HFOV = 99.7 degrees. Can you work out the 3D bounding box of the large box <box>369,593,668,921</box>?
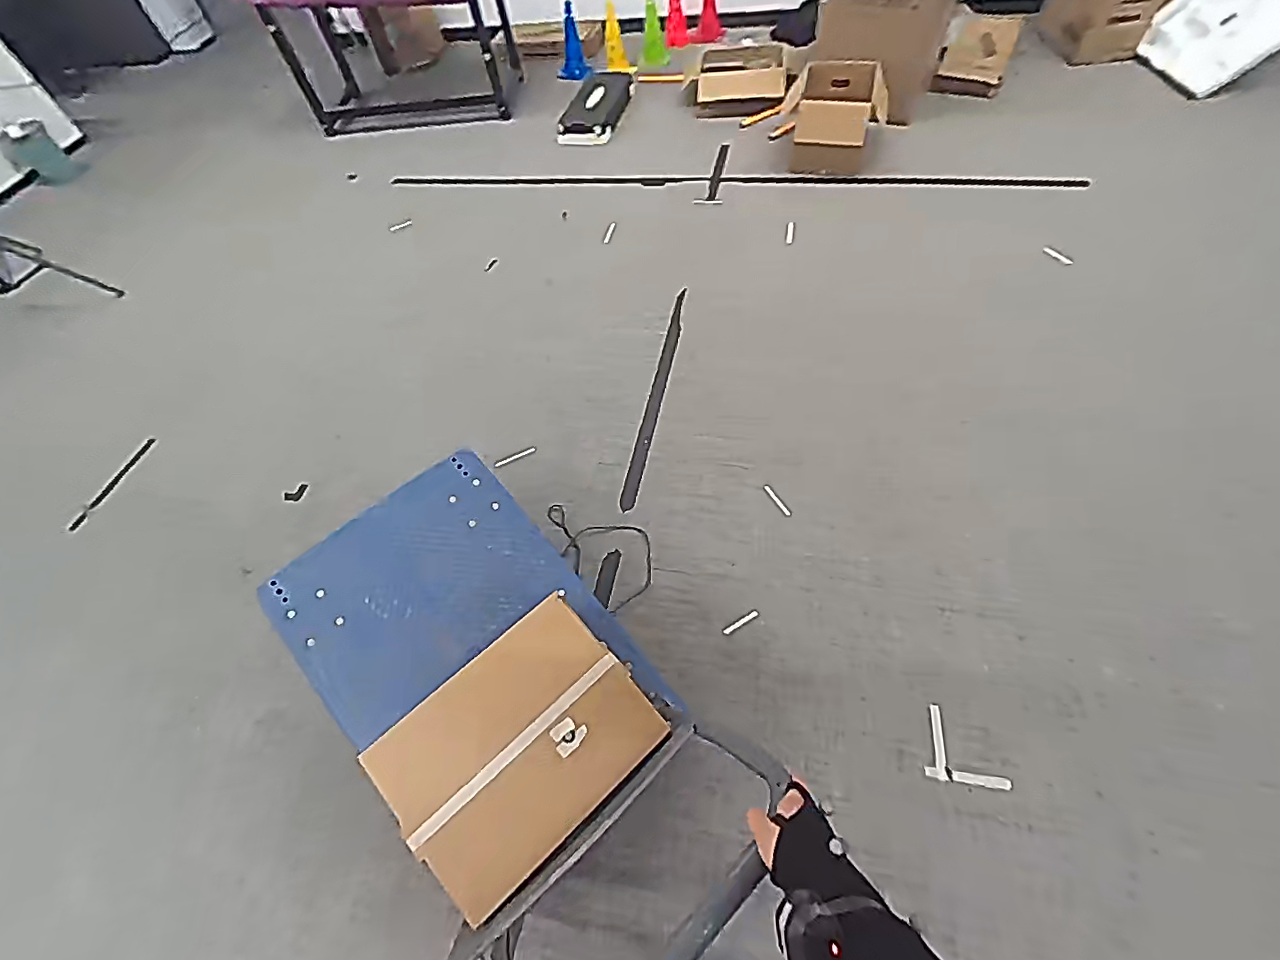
[{"bbox_3d":[-0.210,0.490,1.033,0.408,0.320,0.320,-39,78,-19],"label":"large box"}]
